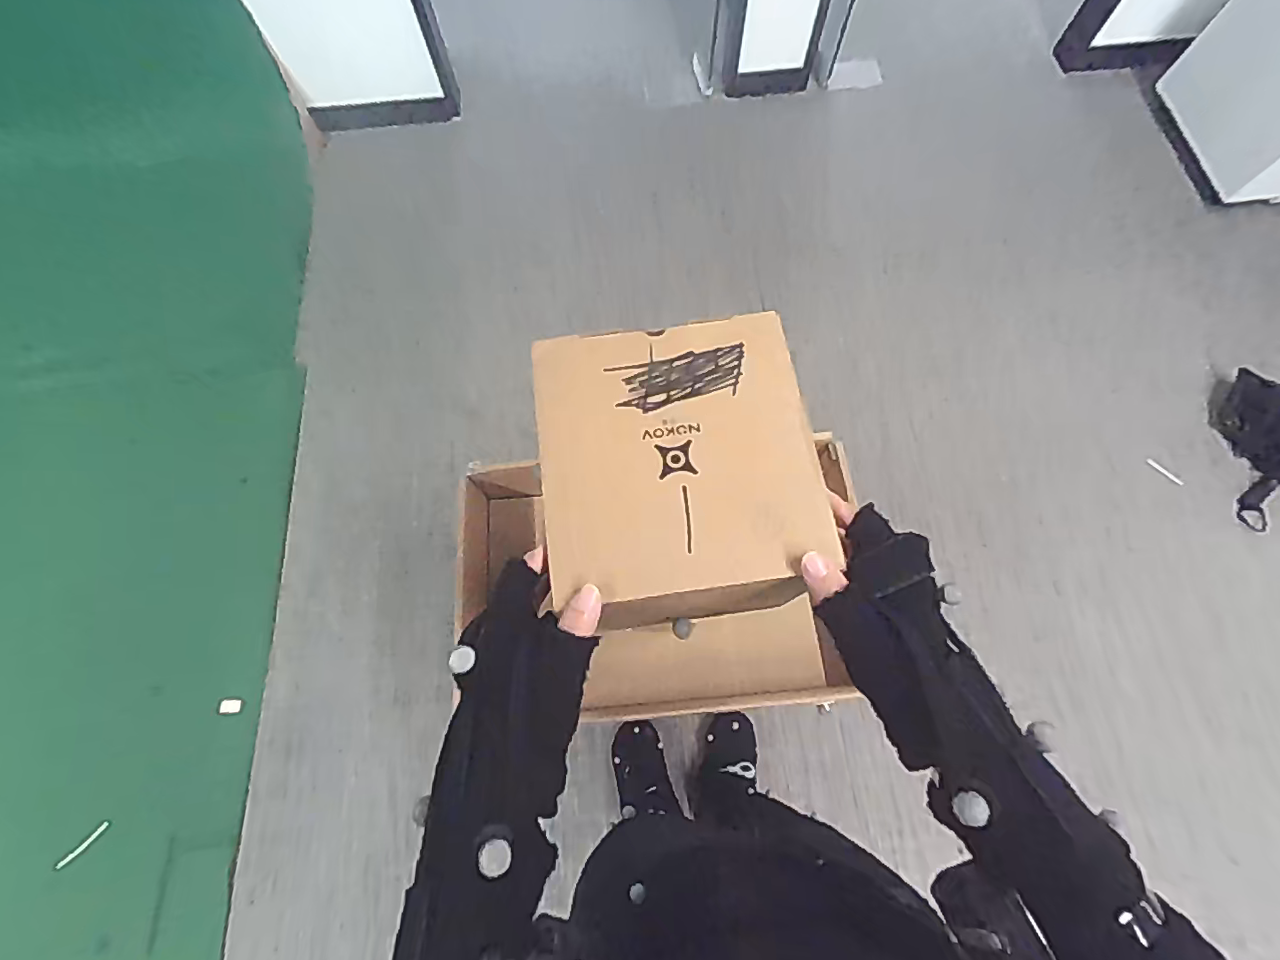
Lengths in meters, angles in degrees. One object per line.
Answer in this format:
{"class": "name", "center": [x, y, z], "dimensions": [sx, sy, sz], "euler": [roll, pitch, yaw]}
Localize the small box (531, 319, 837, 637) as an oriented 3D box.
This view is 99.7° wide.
{"class": "small box", "center": [0.020, 0.011, 0.402], "dimensions": [0.168, 0.176, 0.179], "euler": [-8, 70, -1]}
